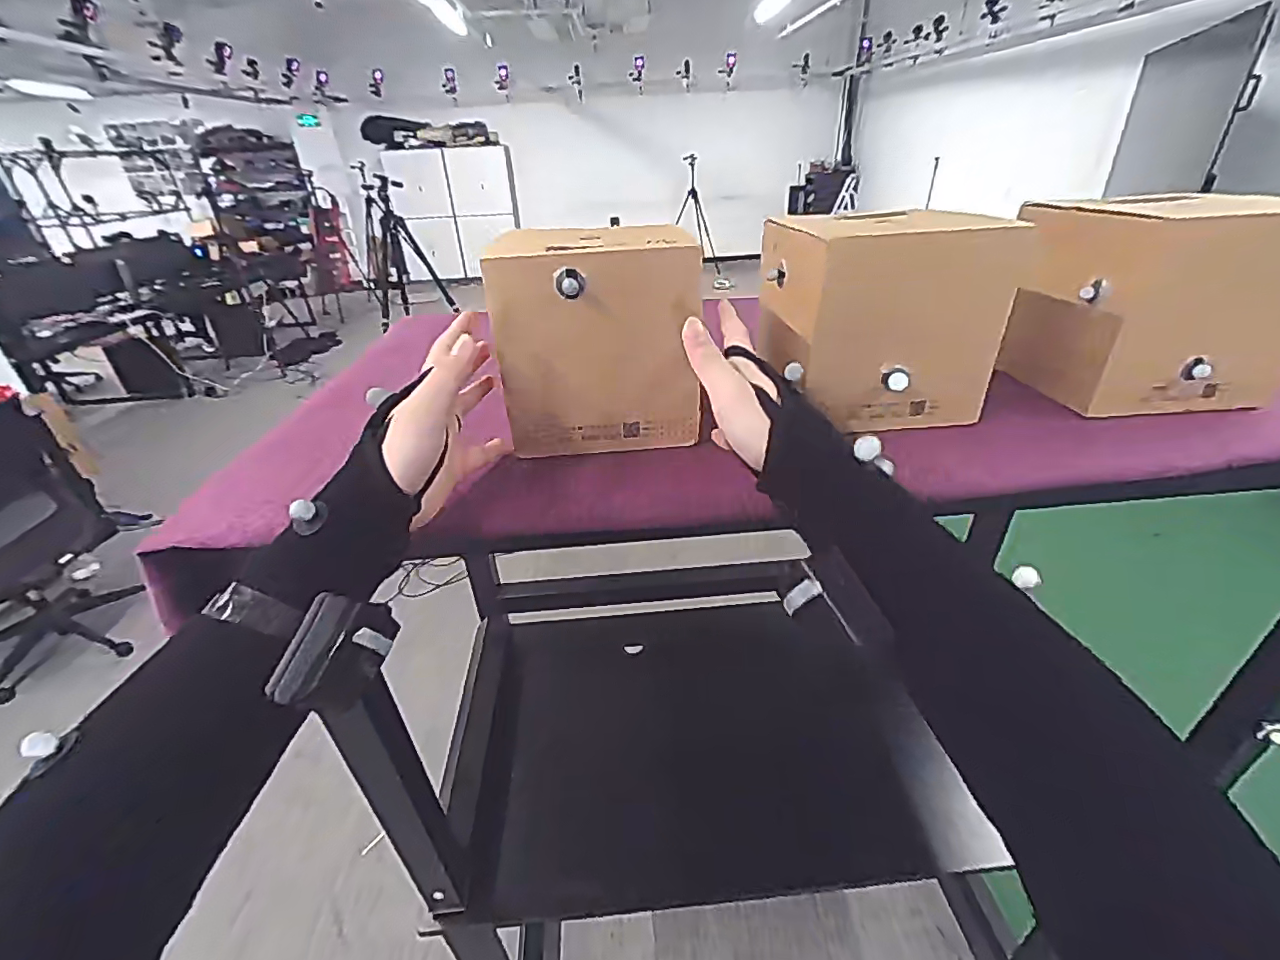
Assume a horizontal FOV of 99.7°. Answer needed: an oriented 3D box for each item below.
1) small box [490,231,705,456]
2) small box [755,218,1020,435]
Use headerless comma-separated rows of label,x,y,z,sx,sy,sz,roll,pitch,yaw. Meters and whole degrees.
small box,-0.035,-0.137,0.519,0.168,0.176,0.179,-5,30,-2
small box,0.216,-0.157,0.534,0.168,0.176,0.179,-4,31,-2
